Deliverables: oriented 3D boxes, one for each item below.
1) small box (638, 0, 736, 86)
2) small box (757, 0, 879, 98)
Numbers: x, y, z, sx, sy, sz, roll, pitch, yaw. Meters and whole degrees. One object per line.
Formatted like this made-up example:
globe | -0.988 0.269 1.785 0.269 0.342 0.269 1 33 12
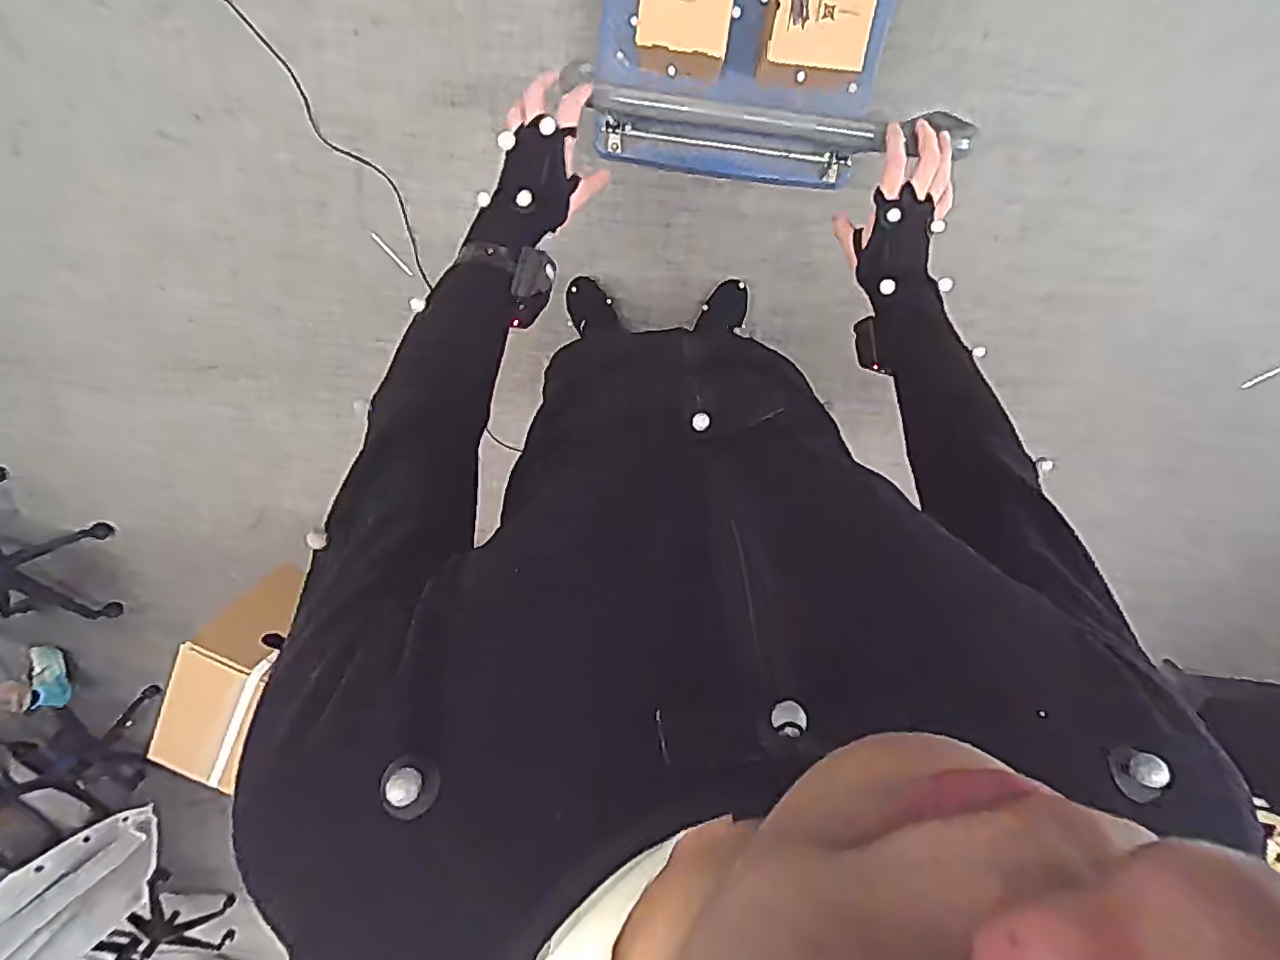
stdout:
small box | 0.090 -0.884 1.027 0.168 0.176 0.179 8 115 -1
small box | 0.329 -0.848 1.026 0.179 0.176 0.168 7 115 -1
